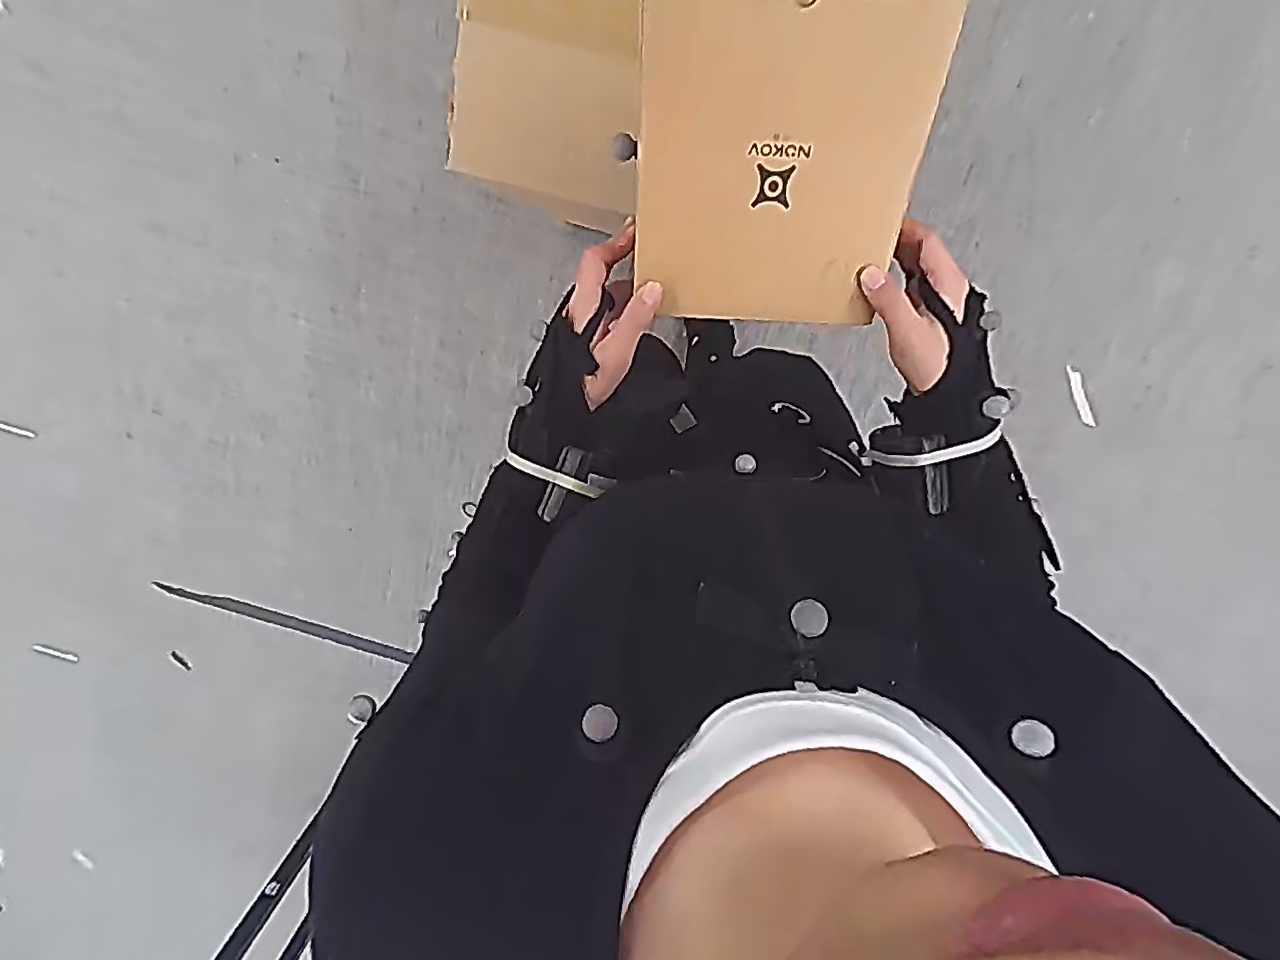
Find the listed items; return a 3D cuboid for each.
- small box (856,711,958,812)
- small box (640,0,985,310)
[{"bbox_3d":[0.746,0.788,1.532,0.179,0.176,0.168,18,108,-1],"label":"small box"},{"bbox_3d":[0.089,-0.235,0.373,0.168,0.176,0.179,3,126,0],"label":"small box"}]
